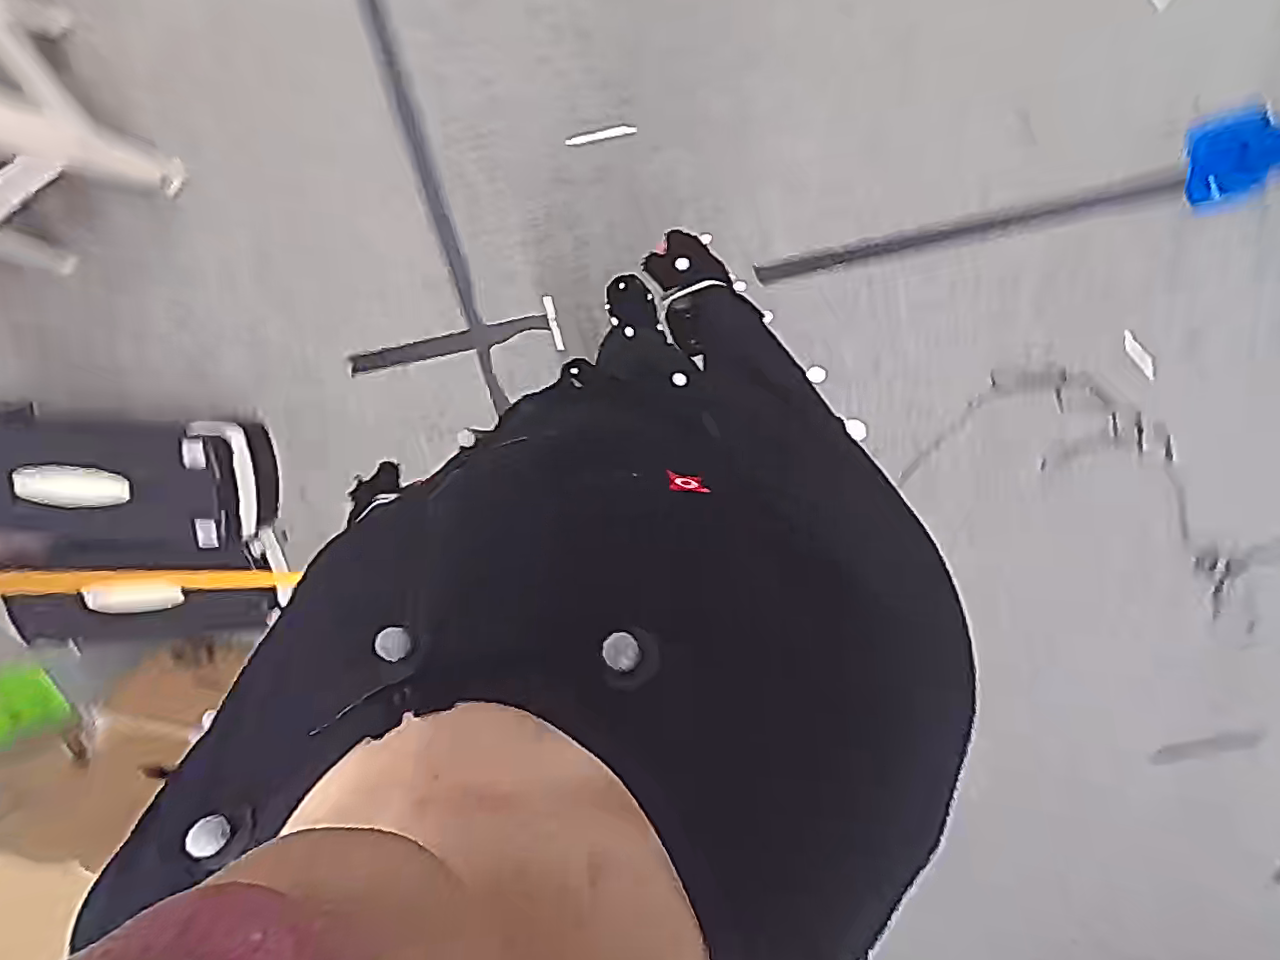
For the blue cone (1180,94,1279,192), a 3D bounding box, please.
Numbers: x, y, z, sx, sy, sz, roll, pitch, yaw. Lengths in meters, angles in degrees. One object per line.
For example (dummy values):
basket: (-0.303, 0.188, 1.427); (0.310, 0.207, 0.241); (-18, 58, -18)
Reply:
blue cone: (1.456, -0.794, 1.192); (0.193, 0.380, 0.192); (-17, 106, 1)
